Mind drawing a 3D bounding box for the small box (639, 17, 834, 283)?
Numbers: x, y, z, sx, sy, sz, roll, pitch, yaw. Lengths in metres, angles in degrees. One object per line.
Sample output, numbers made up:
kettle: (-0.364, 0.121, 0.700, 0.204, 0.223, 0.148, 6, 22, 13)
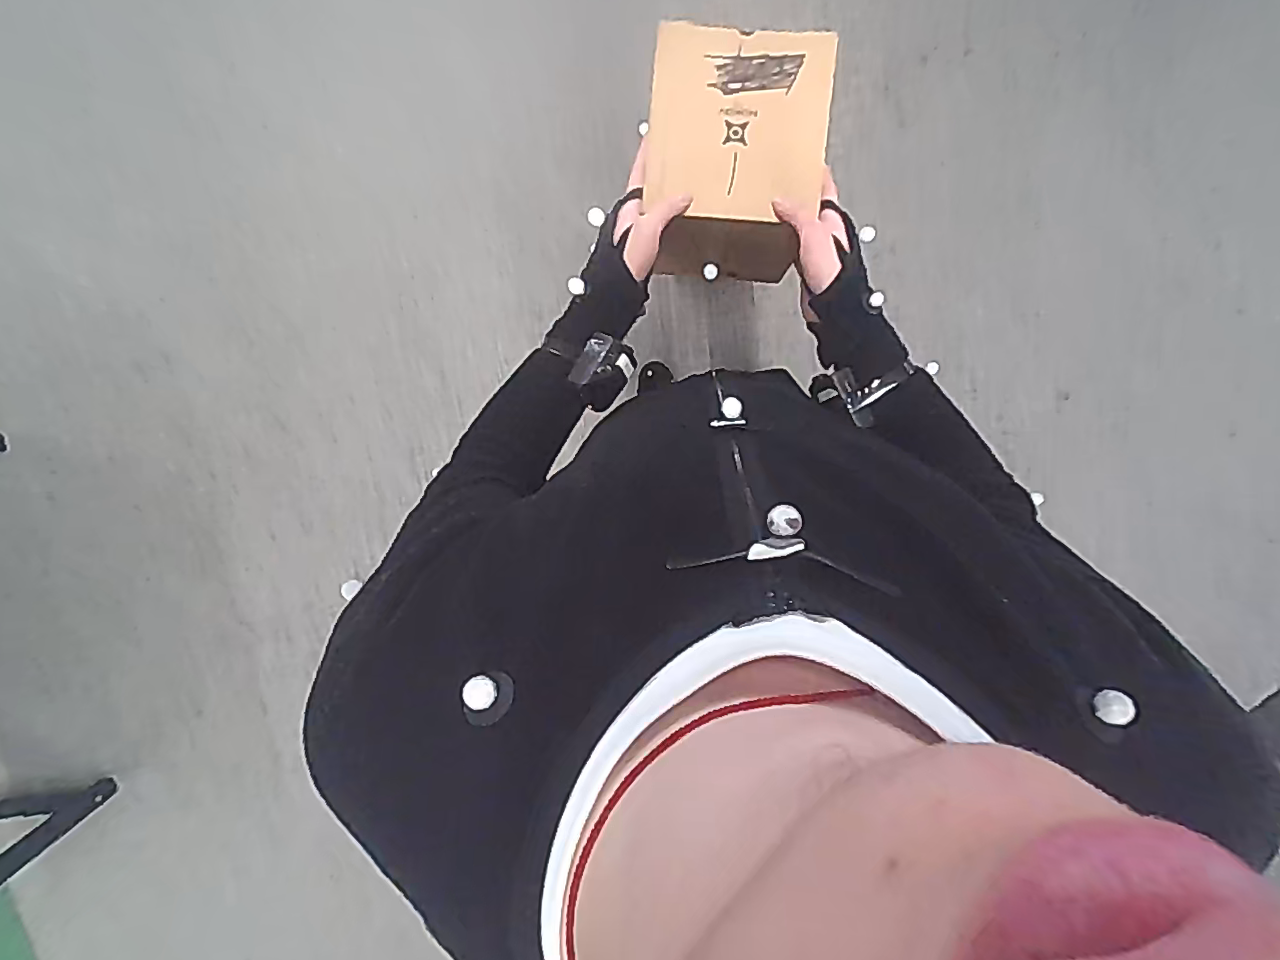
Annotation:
small box: (0.090, -0.332, 0.578, 0.168, 0.176, 0.179, 6, 93, 1)
